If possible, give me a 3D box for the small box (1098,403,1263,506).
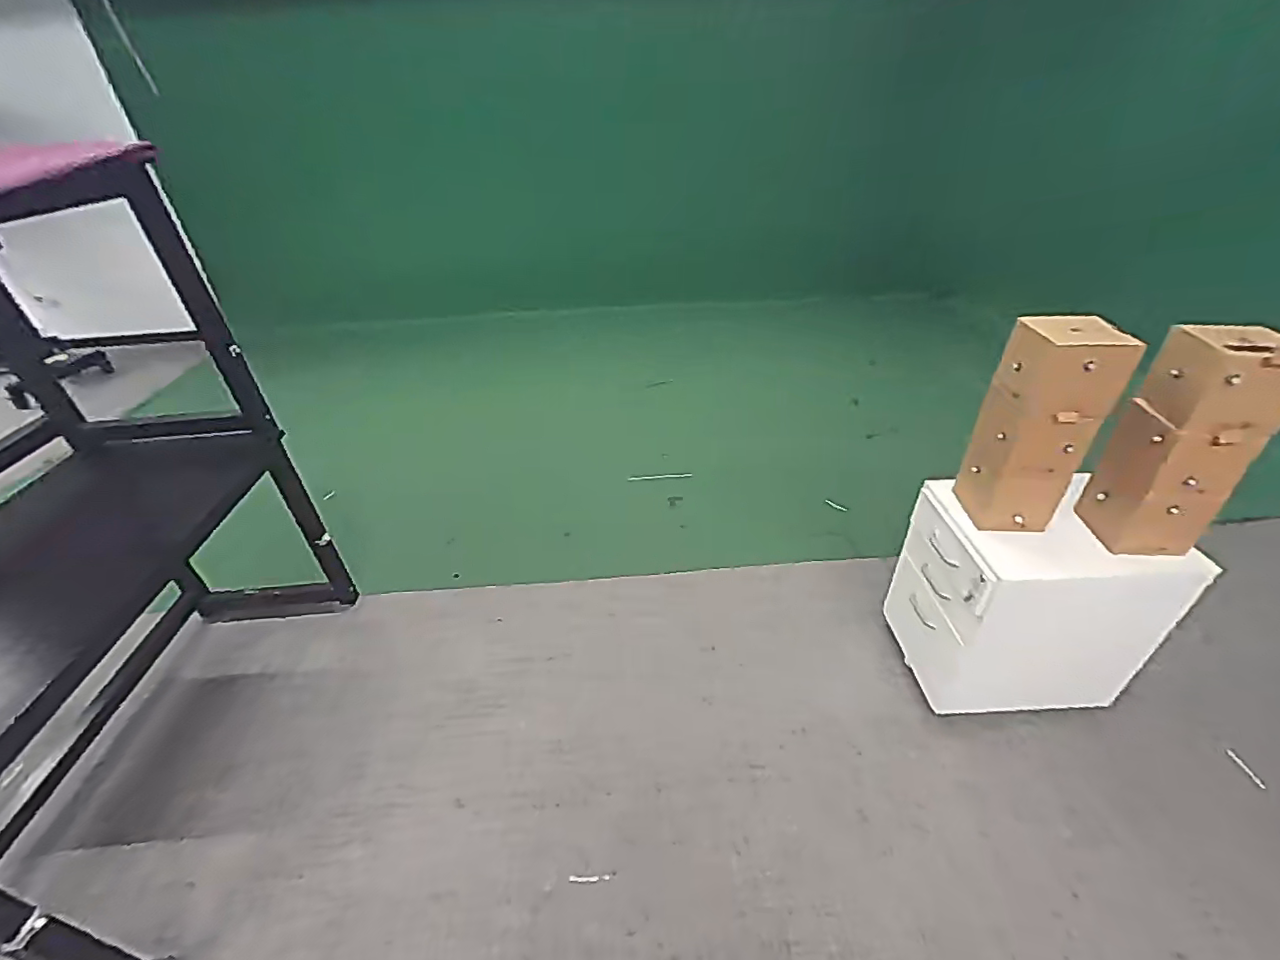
[{"bbox_3d":[1.197,-0.060,1.219,0.168,0.176,0.179,1,36,5],"label":"small box"}]

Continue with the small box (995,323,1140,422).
[{"bbox_3d":[0.931,-0.240,1.205,0.179,0.176,0.168,1,37,2],"label":"small box"}]

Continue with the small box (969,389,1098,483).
[{"bbox_3d":[0.932,-0.106,1.301,0.168,0.176,0.179,2,35,3],"label":"small box"}]

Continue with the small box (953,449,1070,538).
[{"bbox_3d":[0.940,0.027,1.392,0.168,0.176,0.179,1,37,4],"label":"small box"}]

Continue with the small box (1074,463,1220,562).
[{"bbox_3d":[1.207,0.076,1.308,0.168,0.176,0.179,1,35,6],"label":"small box"}]
